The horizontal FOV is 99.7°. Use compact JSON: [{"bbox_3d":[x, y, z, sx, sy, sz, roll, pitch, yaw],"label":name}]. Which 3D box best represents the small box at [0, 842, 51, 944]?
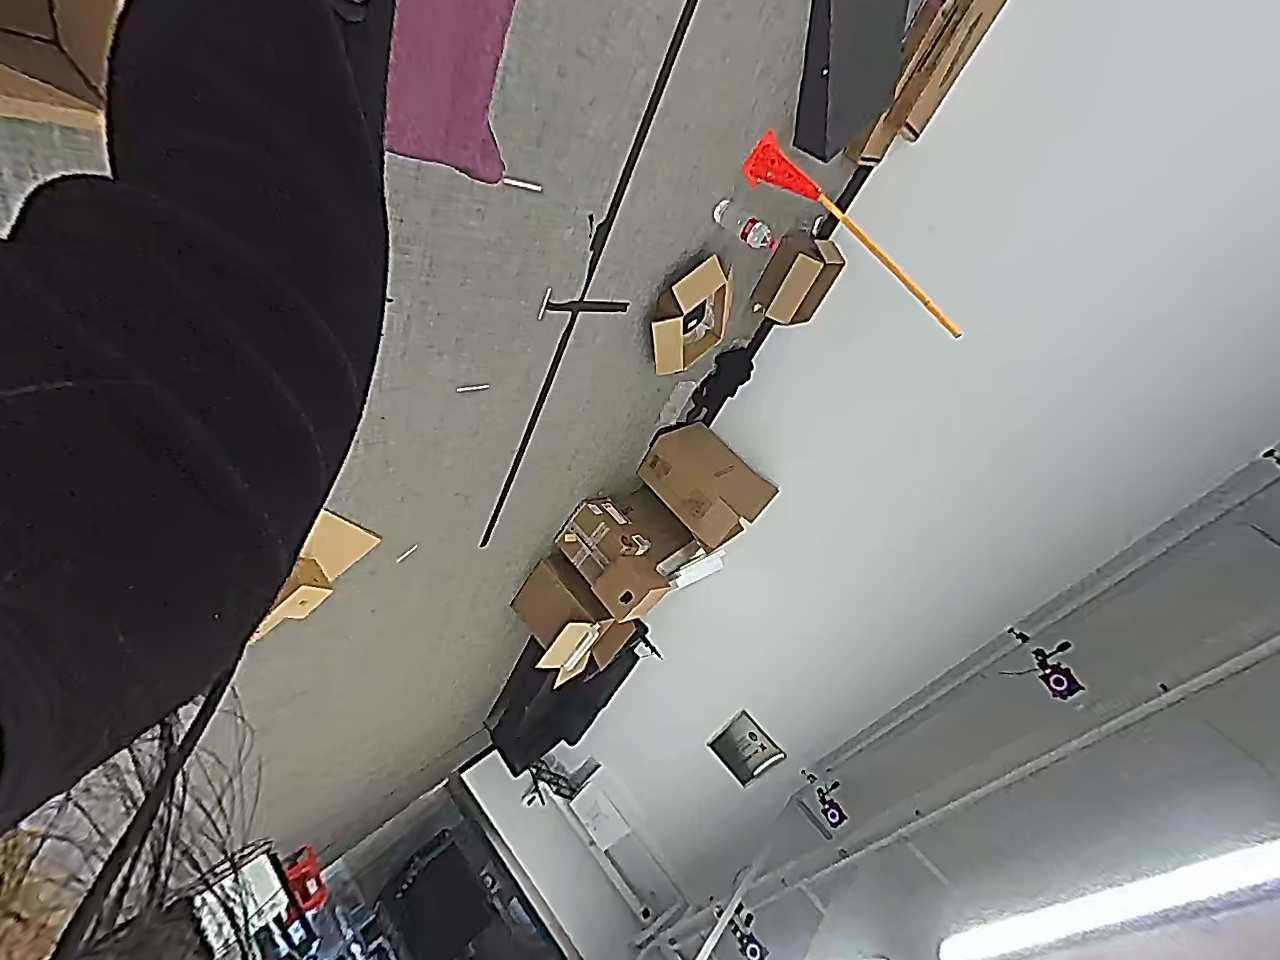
[{"bbox_3d":[-1.658,1.075,1.382,0.168,0.176,0.179,-19,145,-51],"label":"small box"}]

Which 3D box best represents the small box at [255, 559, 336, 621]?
[{"bbox_3d":[-1.344,0.428,2.108,0.168,0.176,0.179,-43,159,-5],"label":"small box"}]

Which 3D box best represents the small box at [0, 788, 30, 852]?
[{"bbox_3d":[-1.764,0.961,1.433,0.168,0.176,0.179,-16,145,-54],"label":"small box"}]
